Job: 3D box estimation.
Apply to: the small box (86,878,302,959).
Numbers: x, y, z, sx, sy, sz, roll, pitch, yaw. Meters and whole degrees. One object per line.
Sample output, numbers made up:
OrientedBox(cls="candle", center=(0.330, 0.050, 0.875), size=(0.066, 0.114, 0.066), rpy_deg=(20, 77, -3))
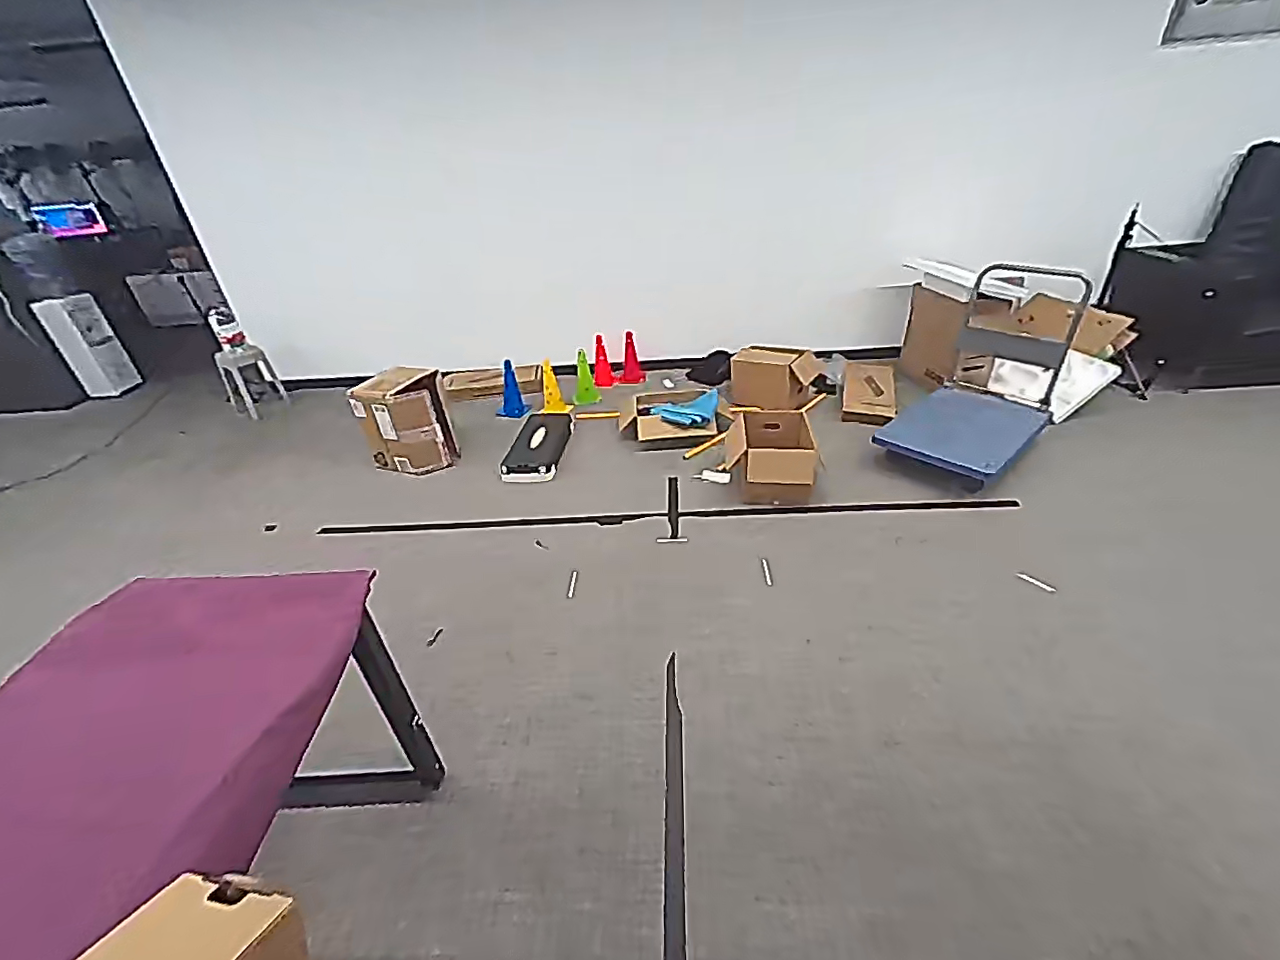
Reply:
OrientedBox(cls="small box", center=(-0.437, 0.529, 0.504), size=(0.168, 0.176, 0.179), rpy_deg=(-4, 9, 18))
